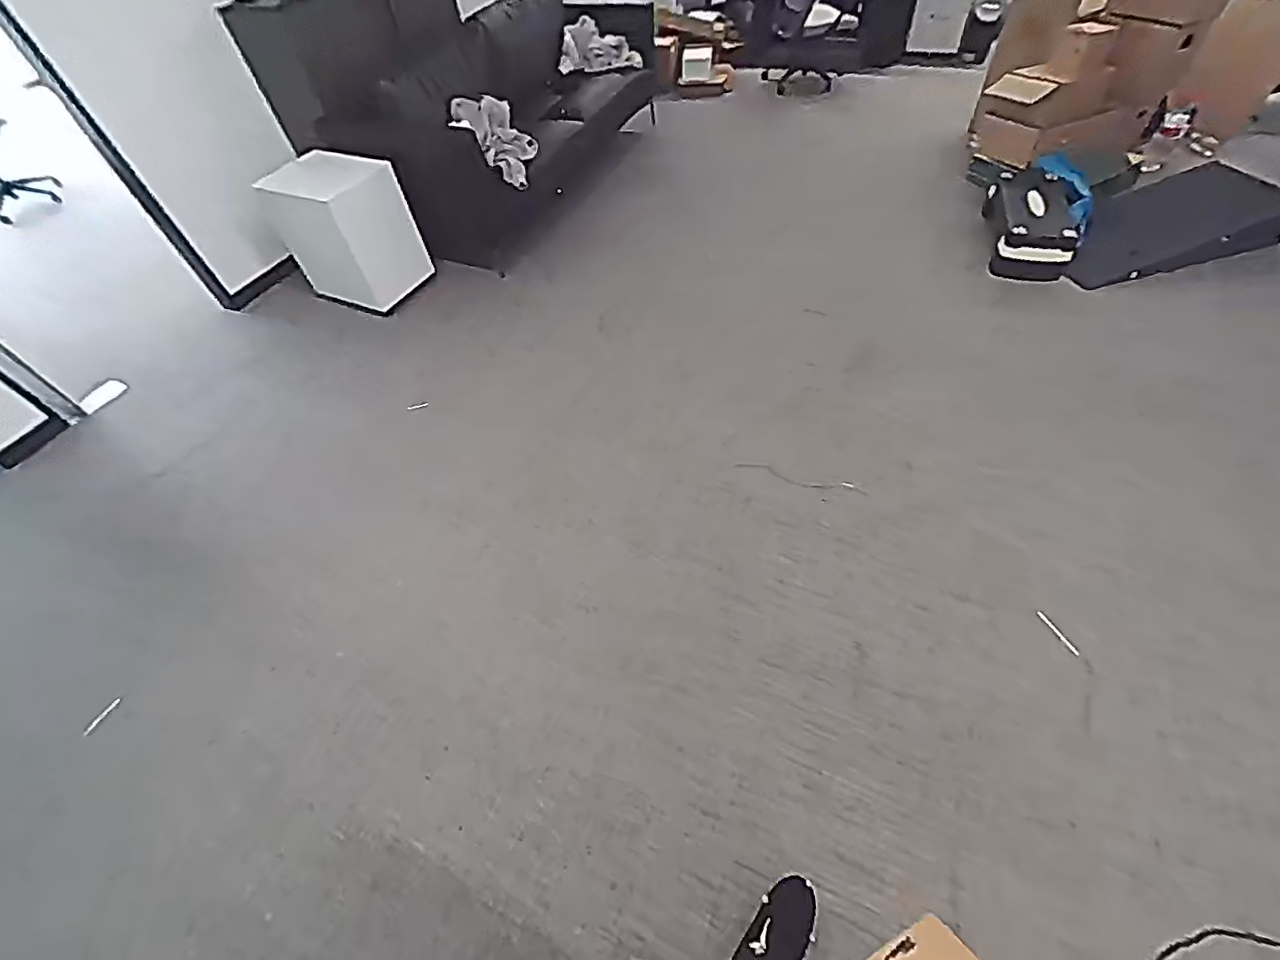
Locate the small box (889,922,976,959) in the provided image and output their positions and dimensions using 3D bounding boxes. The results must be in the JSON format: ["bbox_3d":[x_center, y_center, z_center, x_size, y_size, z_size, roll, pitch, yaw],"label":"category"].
[{"bbox_3d":[0.379,0.684,0.621,0.168,0.179,0.176,-31,77,-9],"label":"small box"}]
